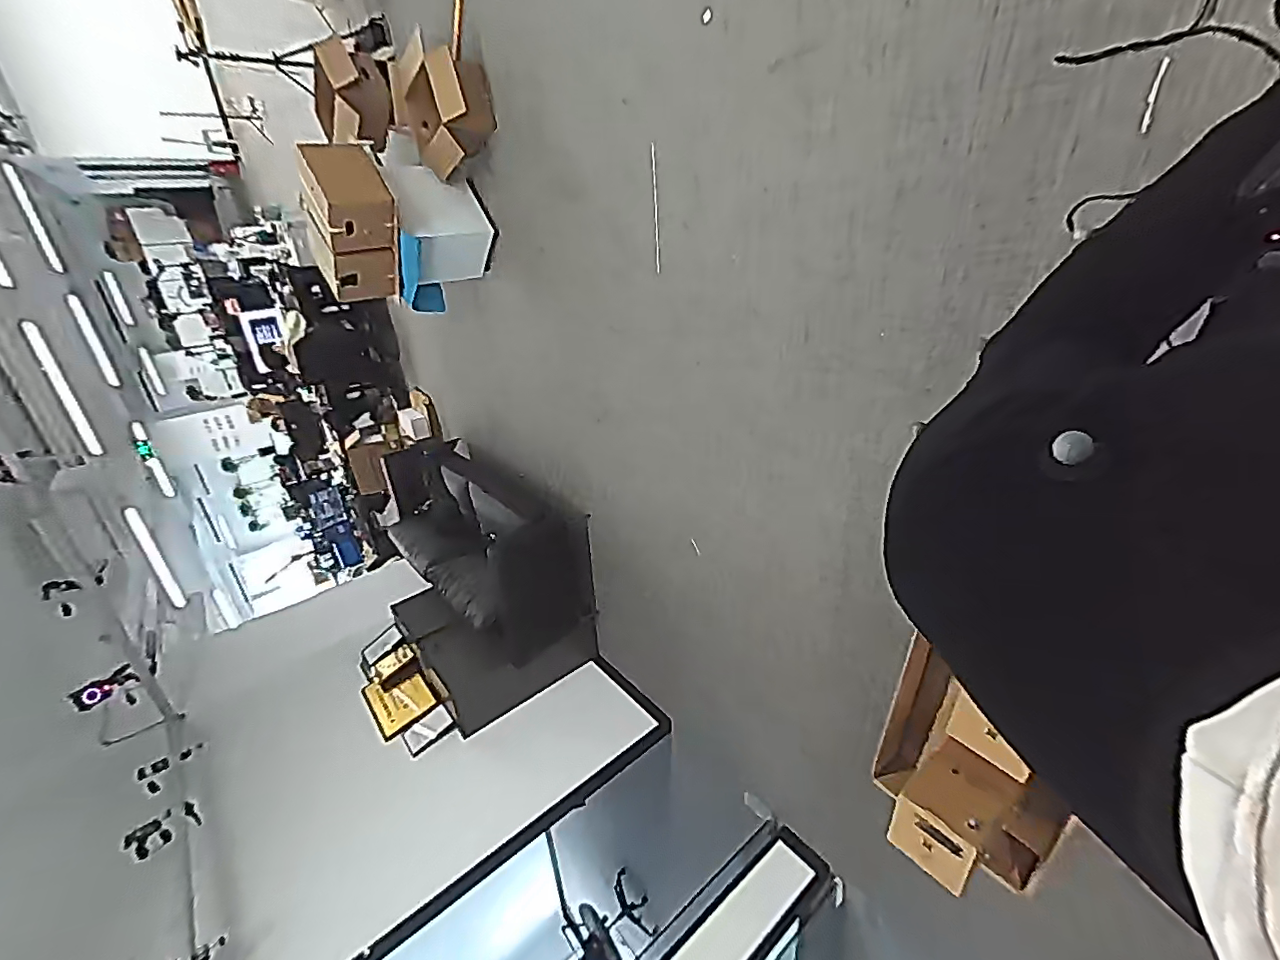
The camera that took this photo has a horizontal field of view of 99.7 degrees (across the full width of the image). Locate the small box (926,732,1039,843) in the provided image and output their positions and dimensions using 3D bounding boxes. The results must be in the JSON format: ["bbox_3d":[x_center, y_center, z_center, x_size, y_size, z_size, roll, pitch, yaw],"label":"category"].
[{"bbox_3d":[0.840,0.727,1.327,0.168,0.176,0.179,29,129,44],"label":"small box"}]

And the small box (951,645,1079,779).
[{"bbox_3d":[0.831,0.507,1.200,0.168,0.176,0.179,30,132,43],"label":"small box"}]
